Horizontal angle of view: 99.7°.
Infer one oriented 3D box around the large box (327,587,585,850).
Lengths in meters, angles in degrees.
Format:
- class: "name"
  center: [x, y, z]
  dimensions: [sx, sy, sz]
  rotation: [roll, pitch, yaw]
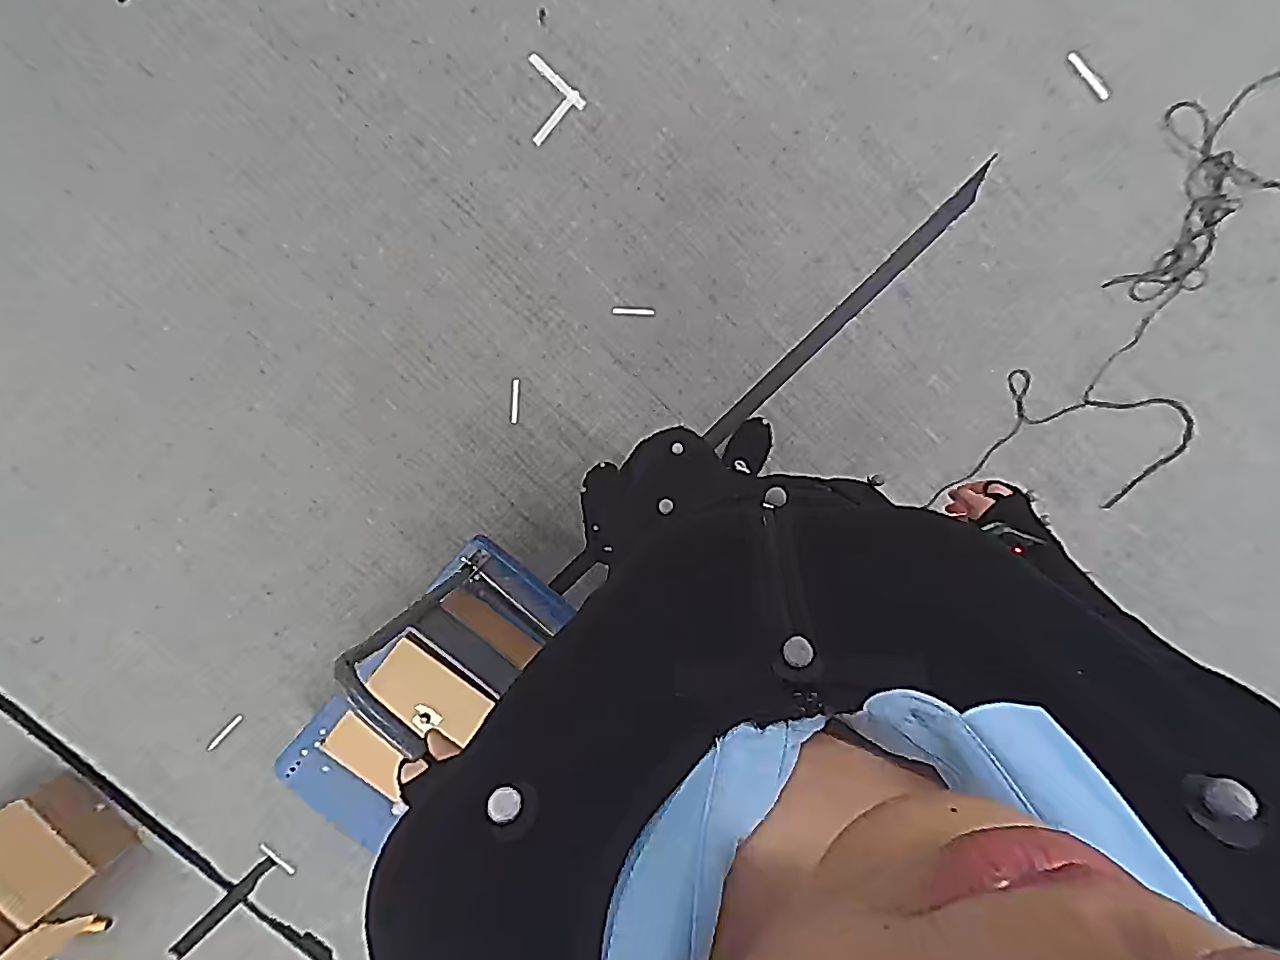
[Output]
- class: "large box"
  center: [-0.389, 0.521, 1.246]
  dimensions: [0.408, 0.320, 0.320]
  rotation: [38, 96, -2]
